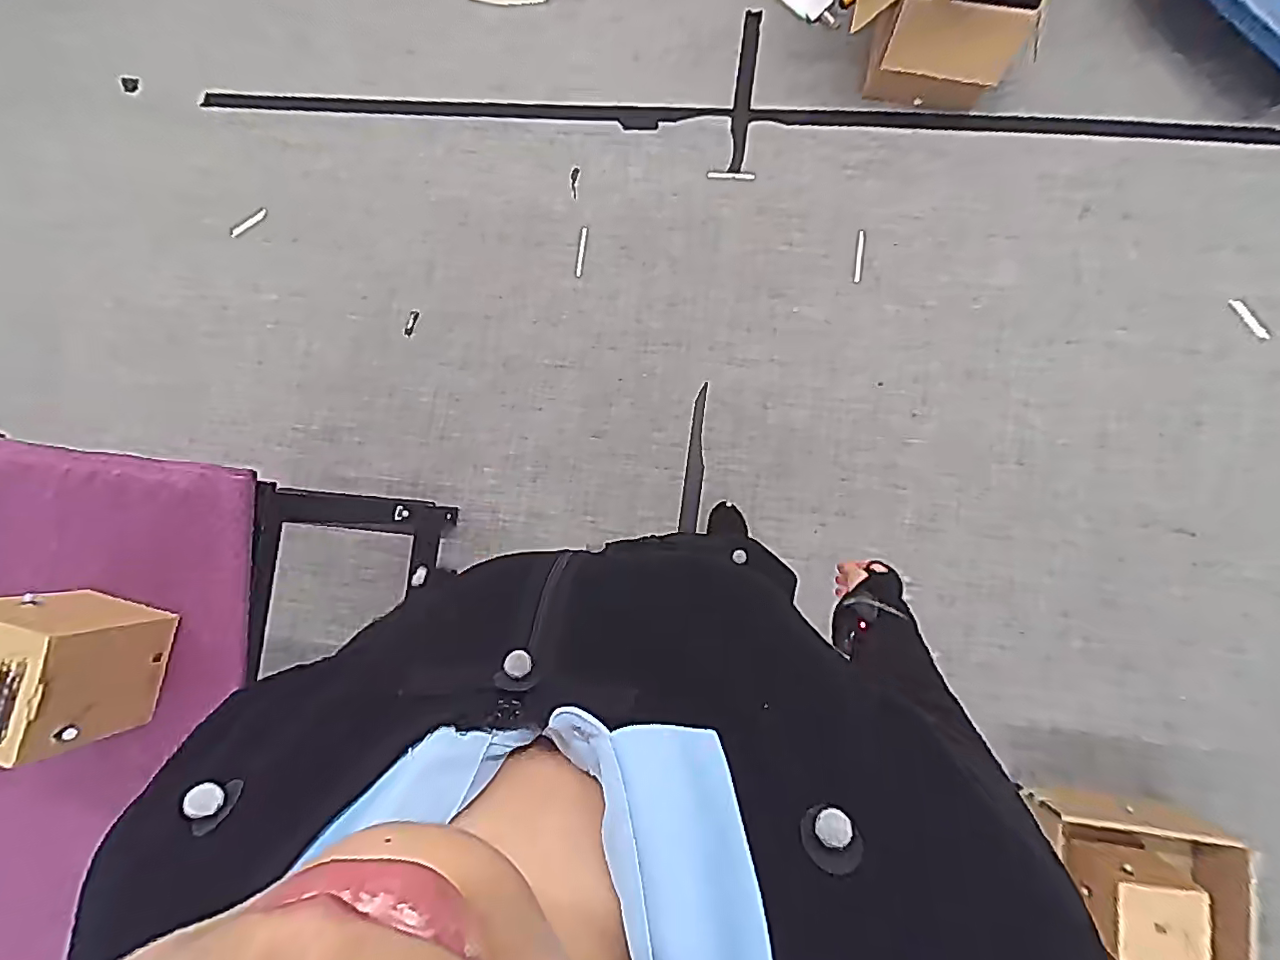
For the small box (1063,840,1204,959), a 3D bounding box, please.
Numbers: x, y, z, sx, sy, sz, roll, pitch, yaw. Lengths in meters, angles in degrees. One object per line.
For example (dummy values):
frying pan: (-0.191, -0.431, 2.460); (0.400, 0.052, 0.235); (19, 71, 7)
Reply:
small box: (1.090, 0.942, 1.208); (0.179, 0.176, 0.168); (4, 86, 5)
